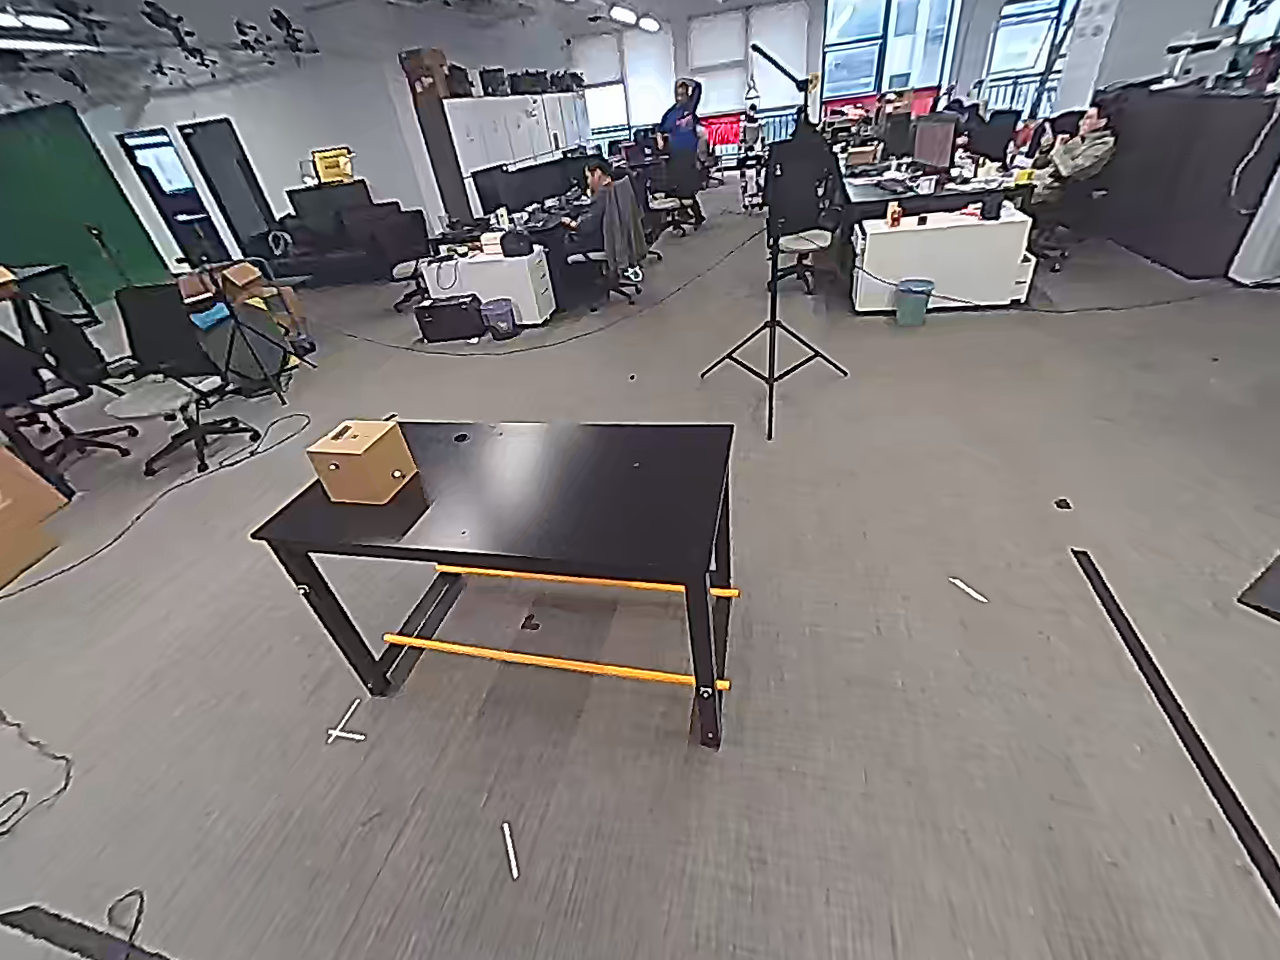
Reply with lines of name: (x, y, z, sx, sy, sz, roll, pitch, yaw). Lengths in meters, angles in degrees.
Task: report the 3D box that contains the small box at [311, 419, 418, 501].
small box: (-0.758, -0.056, 1.506, 0.179, 0.176, 0.168, 4, 37, 14)
